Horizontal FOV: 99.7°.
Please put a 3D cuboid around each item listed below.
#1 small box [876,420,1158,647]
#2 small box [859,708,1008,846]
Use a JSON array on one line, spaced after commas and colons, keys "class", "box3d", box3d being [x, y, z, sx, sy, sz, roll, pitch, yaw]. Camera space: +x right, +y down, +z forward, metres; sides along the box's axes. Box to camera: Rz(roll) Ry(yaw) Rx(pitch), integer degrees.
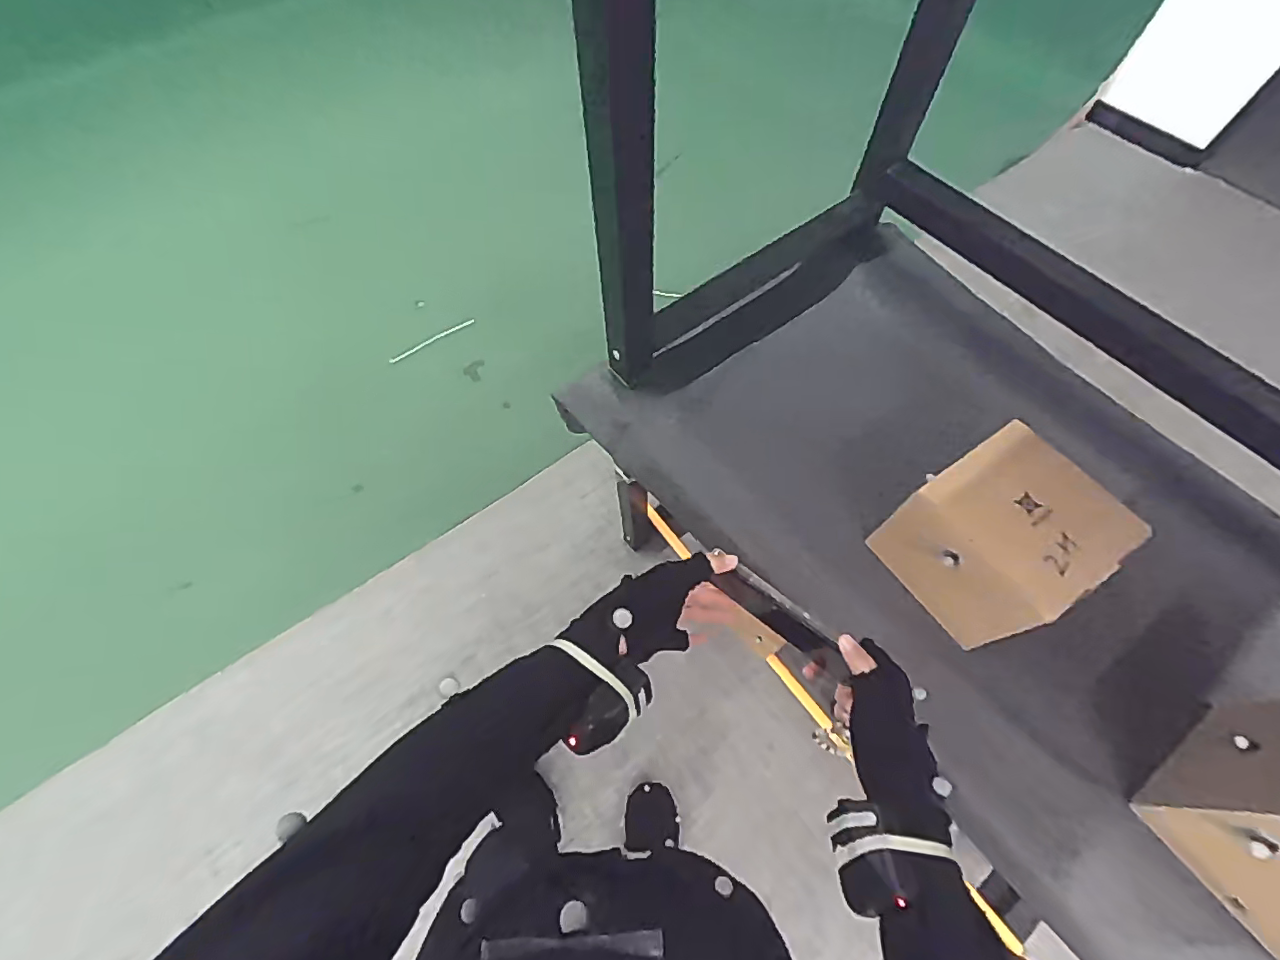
[{"class": "small box", "box3d": [0.418, 0.070, 0.637, 0.168, 0.176, 0.179, -32, 66, -14]}, {"class": "small box", "box3d": [0.563, 0.581, 1.072, 0.179, 0.176, 0.168, -31, 67, -14]}]
